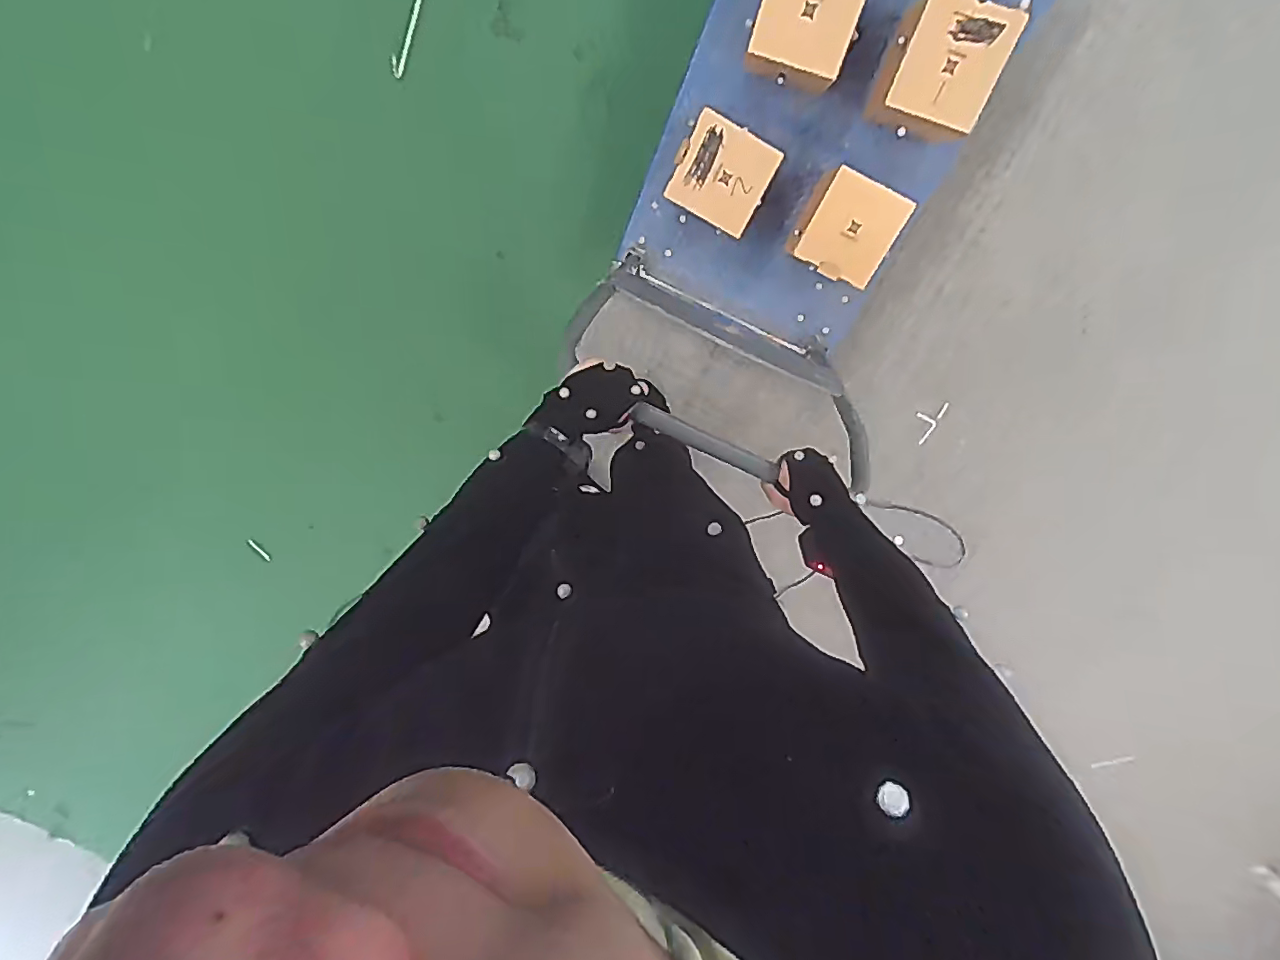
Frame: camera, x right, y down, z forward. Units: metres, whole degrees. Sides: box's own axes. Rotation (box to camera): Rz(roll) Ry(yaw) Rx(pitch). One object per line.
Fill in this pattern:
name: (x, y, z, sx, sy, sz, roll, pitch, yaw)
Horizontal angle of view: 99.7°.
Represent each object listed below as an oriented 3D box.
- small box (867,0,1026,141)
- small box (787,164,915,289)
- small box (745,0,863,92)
small box: (0.543, -0.752, 0.993, 0.168, 0.176, 0.179, 18, 118, -2)
small box: (0.424, -0.527, 1.125, 0.168, 0.176, 0.179, 24, 118, -6)
small box: (0.297, -0.837, 0.980, 0.168, 0.176, 0.179, 17, 118, -2)
